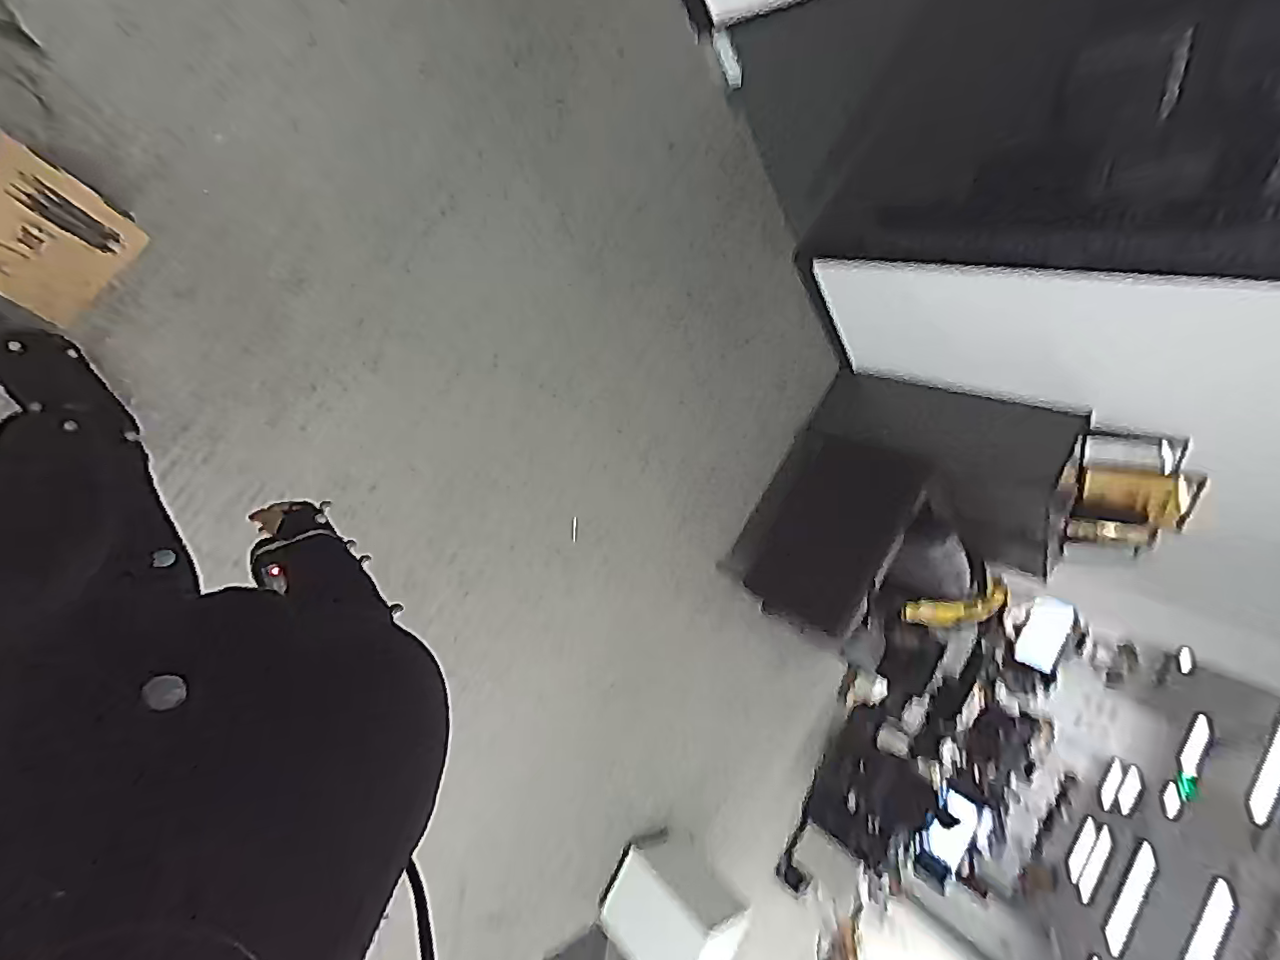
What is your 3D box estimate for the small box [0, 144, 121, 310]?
[{"bbox_3d":[-0.967,-0.395,0.844,0.179,0.176,0.168,-56,139,-9],"label":"small box"}]
